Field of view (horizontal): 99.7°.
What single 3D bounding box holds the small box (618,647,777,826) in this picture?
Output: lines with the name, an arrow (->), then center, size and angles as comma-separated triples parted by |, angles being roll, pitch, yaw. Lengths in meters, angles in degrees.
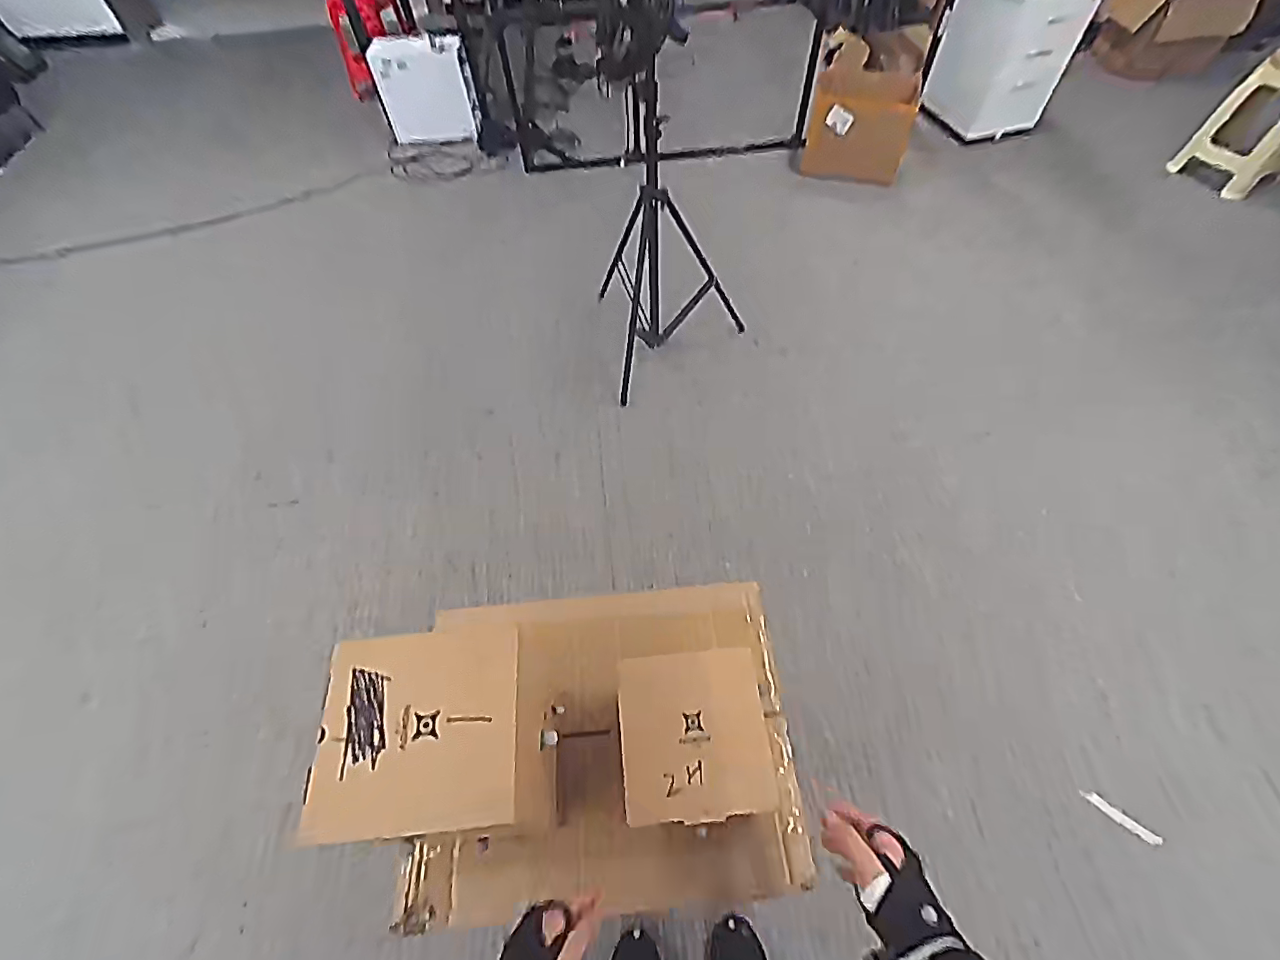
small box -> 0.063, 0.328, 0.684 | 0.168, 0.176, 0.179 | -6, 57, 1

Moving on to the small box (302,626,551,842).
small box -> -0.192, 0.261, 0.547 | 0.179, 0.176, 0.168 | -5, 57, -2

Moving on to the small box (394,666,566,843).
small box -> -0.188, 0.349, 0.685 | 0.168, 0.176, 0.179 | -6, 58, -1
